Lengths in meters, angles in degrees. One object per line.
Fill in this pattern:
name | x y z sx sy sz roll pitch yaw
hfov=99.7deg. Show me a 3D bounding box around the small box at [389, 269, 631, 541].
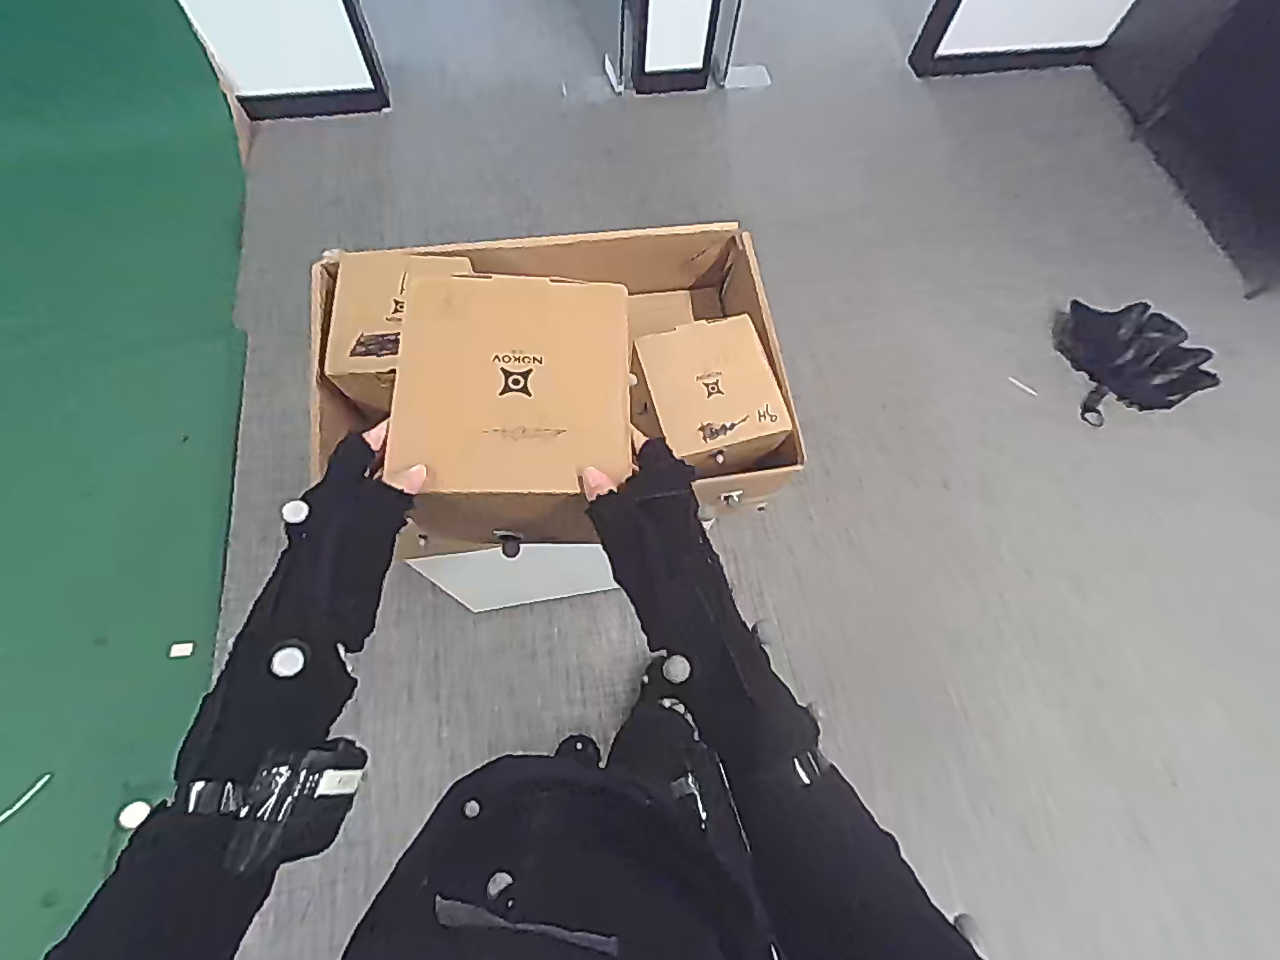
small box | -0.099 -0.052 0.472 0.168 0.176 0.179 1 71 -7
